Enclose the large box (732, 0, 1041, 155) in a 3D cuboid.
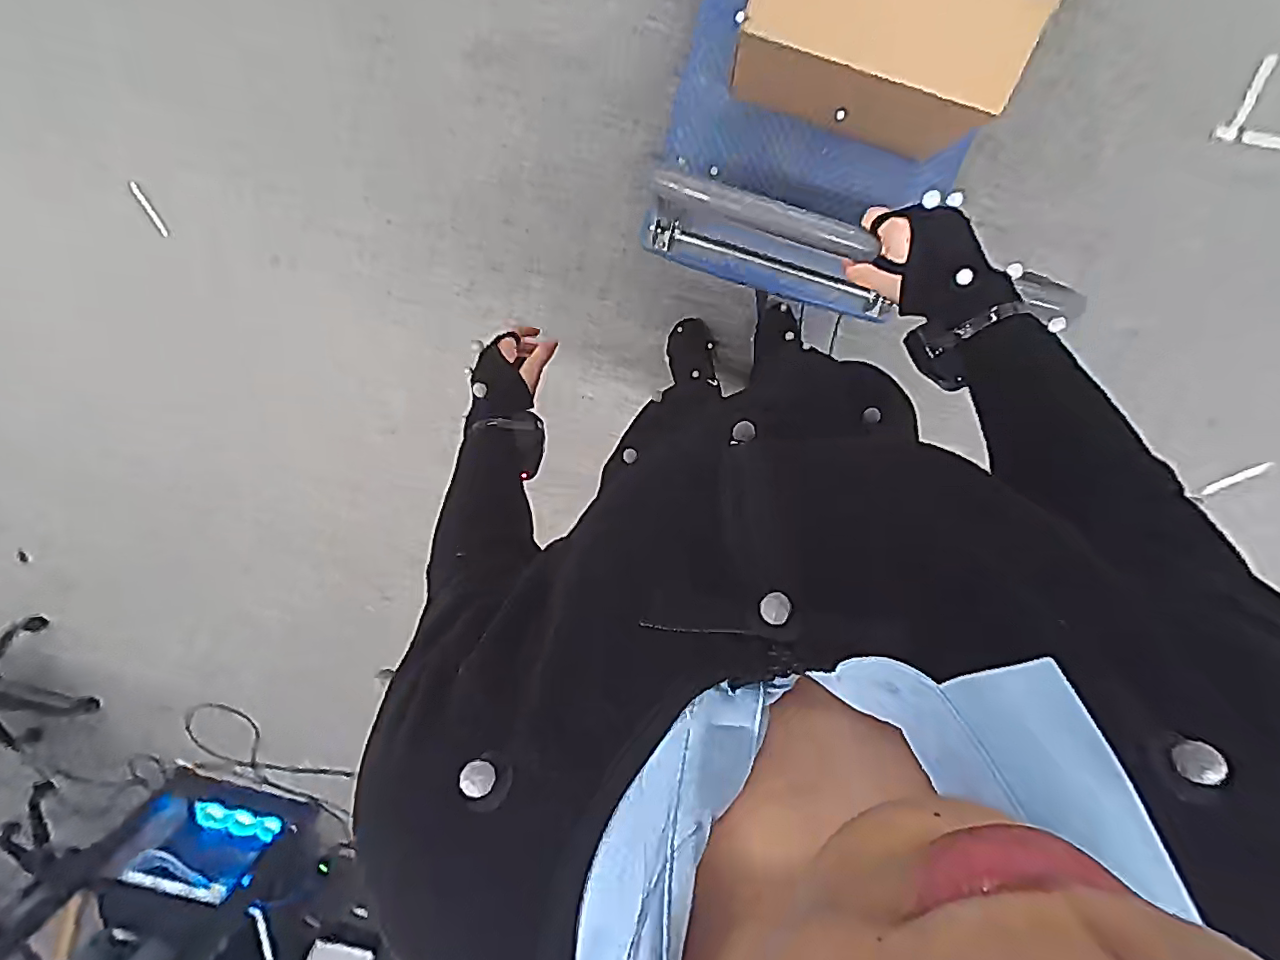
[{"bbox_3d":[0.397,-0.788,0.896,0.408,0.320,0.320,18,110,1],"label":"large box"}]
